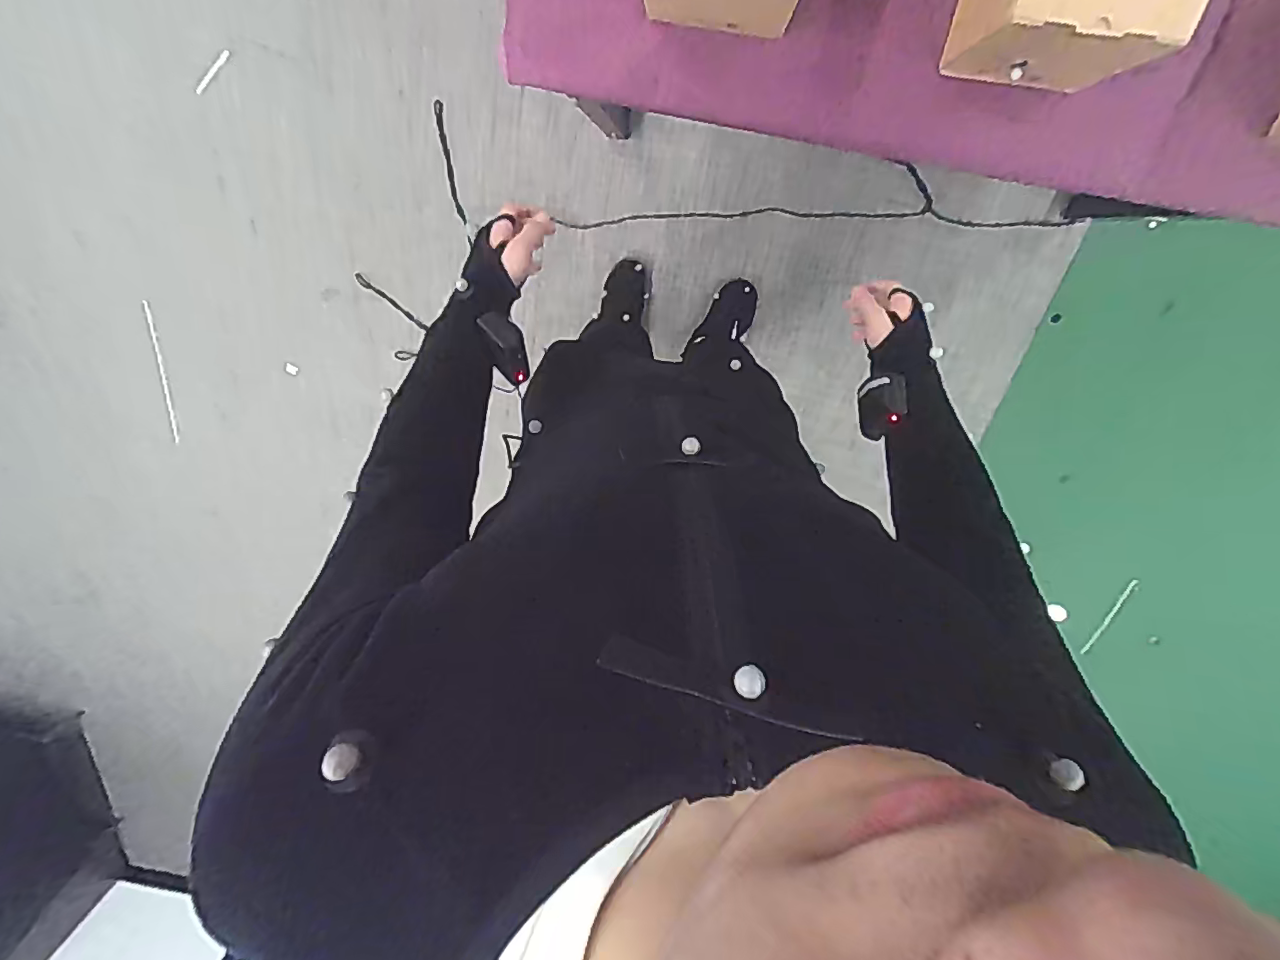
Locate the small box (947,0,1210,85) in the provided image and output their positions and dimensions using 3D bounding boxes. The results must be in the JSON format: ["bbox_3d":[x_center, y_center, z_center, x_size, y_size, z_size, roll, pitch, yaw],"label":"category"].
[{"bbox_3d":[0.436,-0.520,0.527,0.168,0.176,0.179,9,115,2],"label":"small box"}]
